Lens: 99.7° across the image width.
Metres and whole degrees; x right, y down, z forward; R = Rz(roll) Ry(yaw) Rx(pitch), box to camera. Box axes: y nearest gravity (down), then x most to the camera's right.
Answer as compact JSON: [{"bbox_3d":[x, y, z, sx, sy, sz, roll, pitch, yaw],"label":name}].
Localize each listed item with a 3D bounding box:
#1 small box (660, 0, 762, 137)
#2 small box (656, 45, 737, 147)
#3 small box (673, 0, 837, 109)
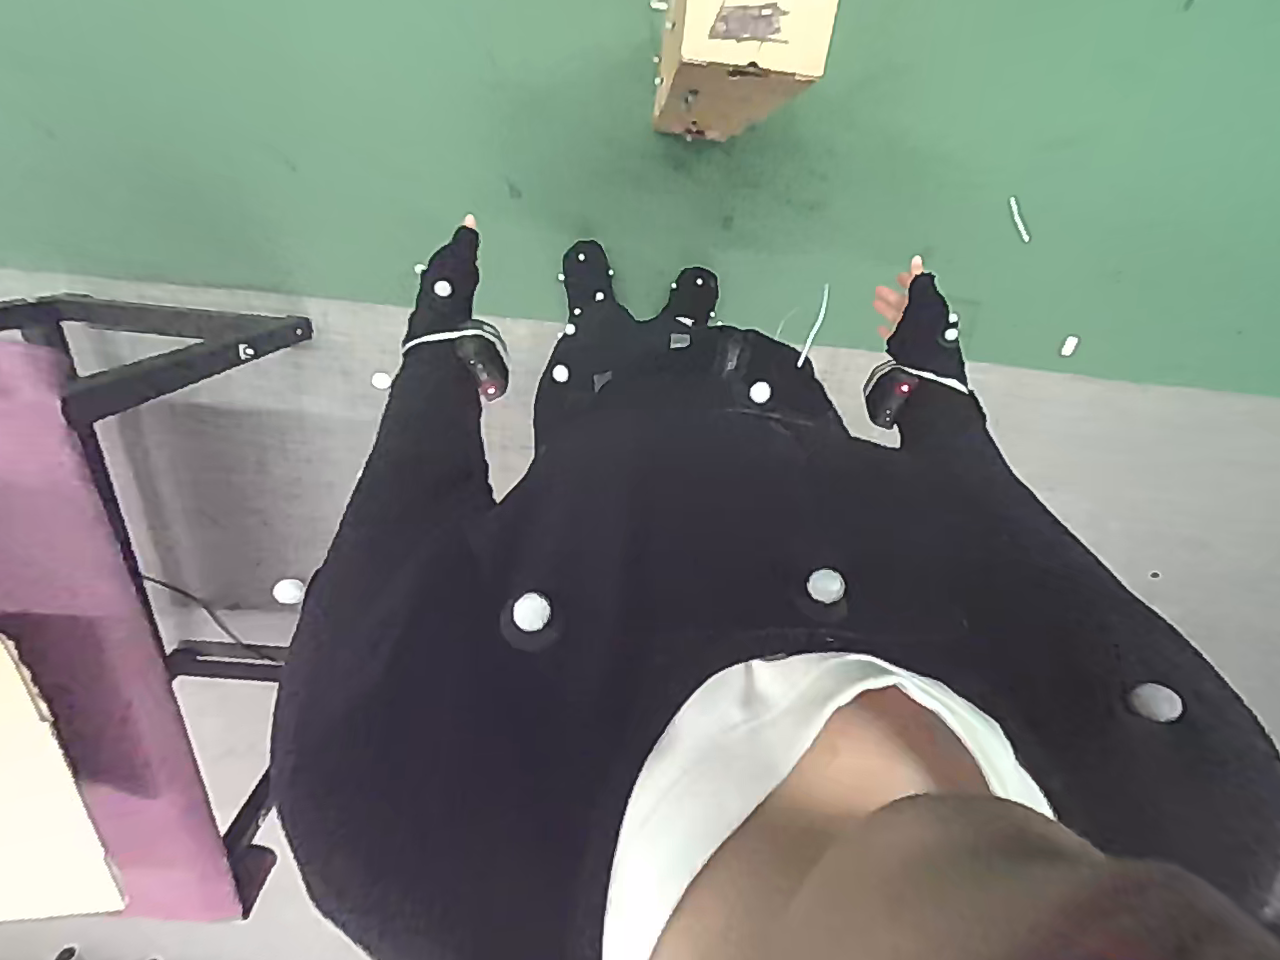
[{"bbox_3d":[0.128,-0.723,0.949,0.168,0.176,0.179,4,116,-4],"label":"small box"},{"bbox_3d":[0.125,-0.798,1.093,0.168,0.176,0.179,7,115,-4],"label":"small box"},{"bbox_3d":[0.135,-0.572,0.655,0.168,0.176,0.179,5,114,-4],"label":"small box"}]
